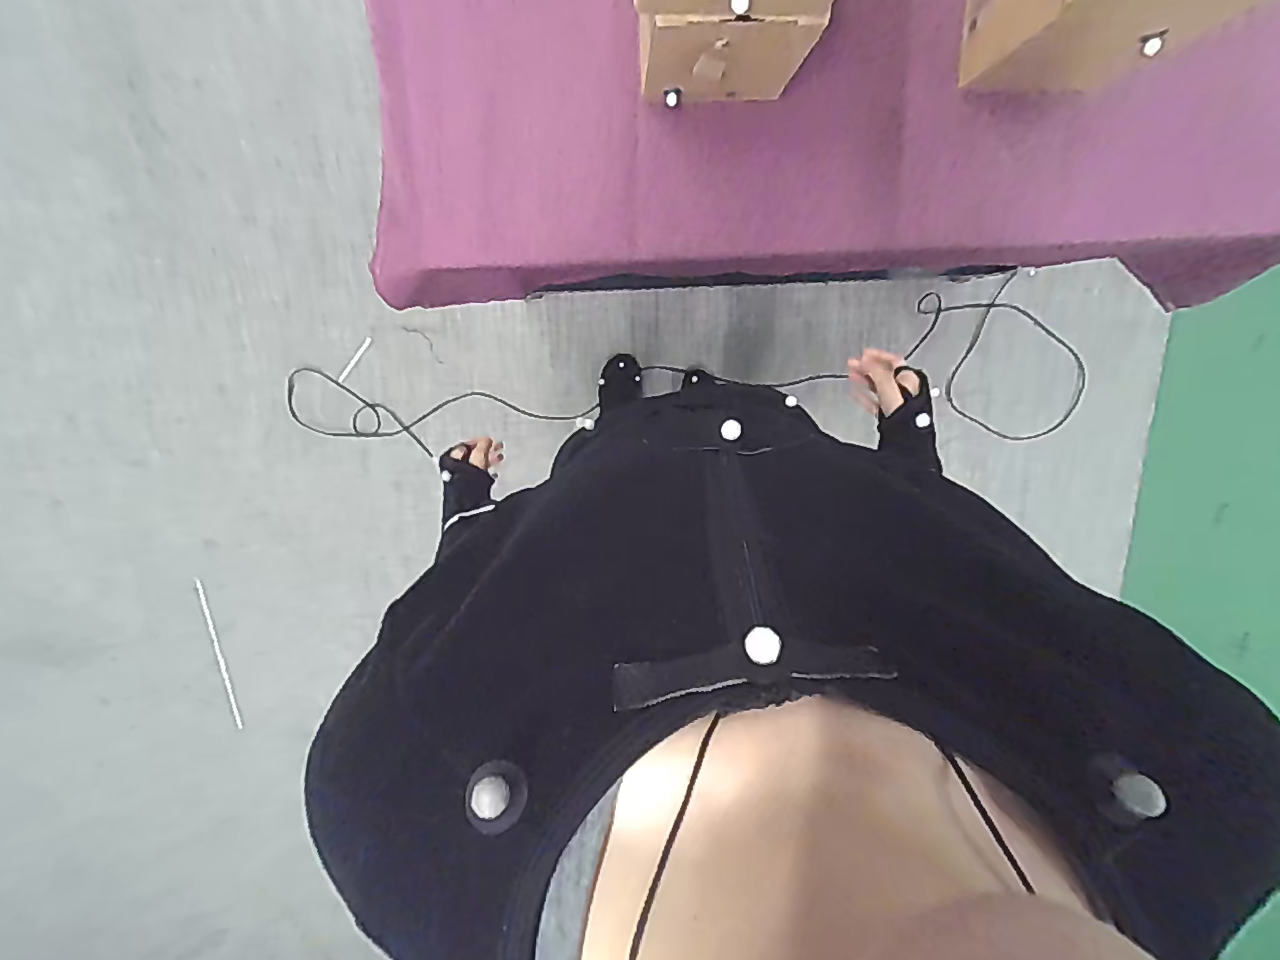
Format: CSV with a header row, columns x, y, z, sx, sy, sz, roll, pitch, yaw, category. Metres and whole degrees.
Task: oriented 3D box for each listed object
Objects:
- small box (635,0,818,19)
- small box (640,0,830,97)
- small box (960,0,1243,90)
x,y,z,sx,sy,sz,roll,pitch,yaw,category
0.085,-0.478,0.393,0.179,0.176,0.168,-2,104,-3,small box
0.087,-0.520,0.552,0.168,0.176,0.179,-3,104,-3,small box
0.479,-0.540,0.567,0.179,0.176,0.168,-2,104,-3,small box
